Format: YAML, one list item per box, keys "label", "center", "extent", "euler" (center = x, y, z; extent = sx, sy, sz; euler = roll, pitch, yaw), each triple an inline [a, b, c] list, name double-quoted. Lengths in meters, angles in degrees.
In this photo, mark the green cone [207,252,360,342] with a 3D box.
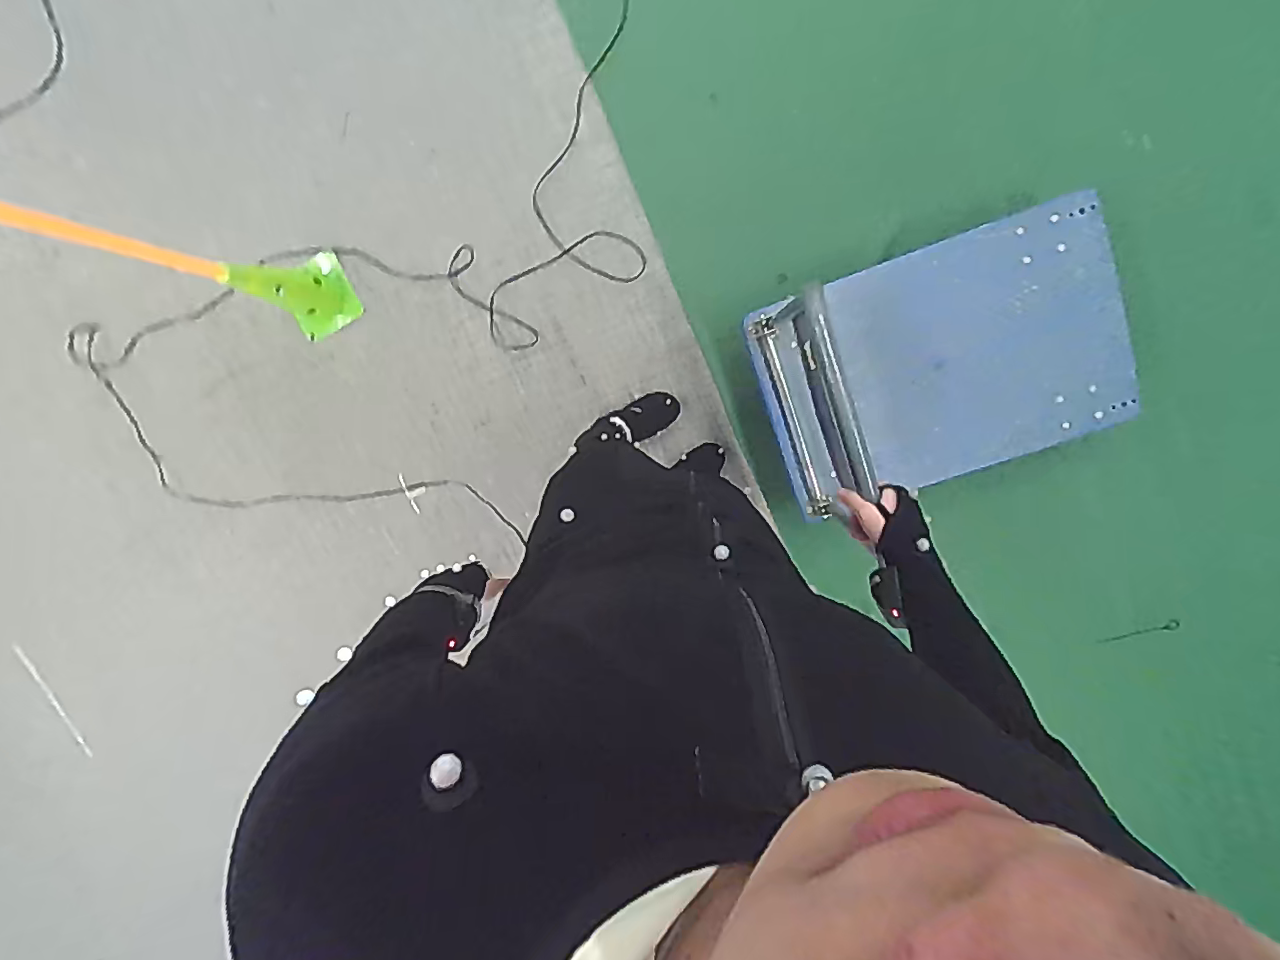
- label: "green cone"
  center: [-0.946, -0.504, 1.400]
  extent: [0.200, 0.368, 0.202]
  euler: [-27, 96, 7]
